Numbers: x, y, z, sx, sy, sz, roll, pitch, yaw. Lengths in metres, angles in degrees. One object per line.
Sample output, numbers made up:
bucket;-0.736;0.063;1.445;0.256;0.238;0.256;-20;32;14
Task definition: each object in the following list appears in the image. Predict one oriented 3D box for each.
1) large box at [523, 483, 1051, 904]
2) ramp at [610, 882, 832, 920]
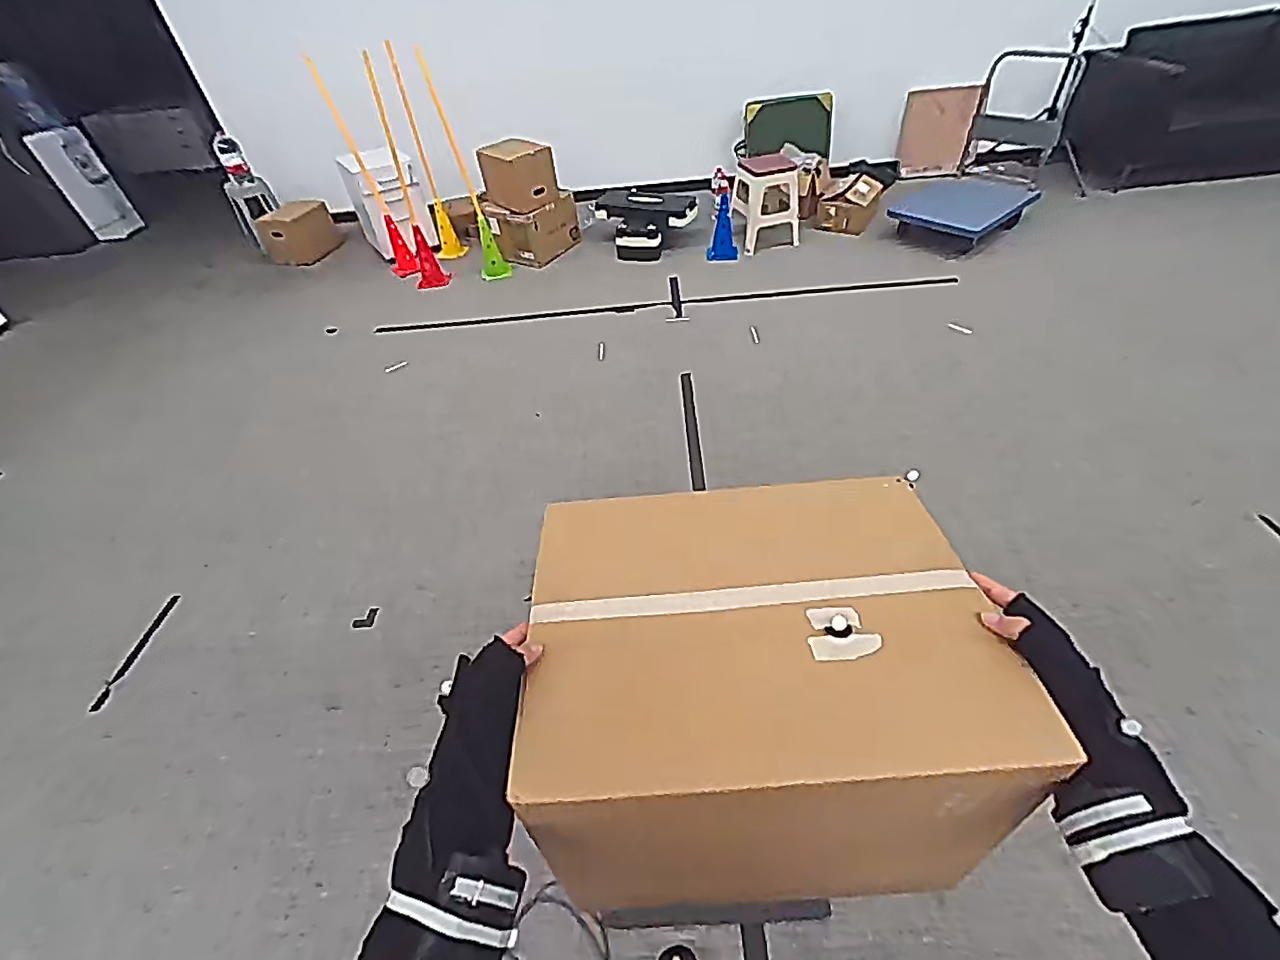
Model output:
large box;0.112;0.232;0.607;0.408;0.320;0.320;-5;40;1
ramp;0.153;0.531;1.452;0.509;0.206;0.991;-5;45;0
